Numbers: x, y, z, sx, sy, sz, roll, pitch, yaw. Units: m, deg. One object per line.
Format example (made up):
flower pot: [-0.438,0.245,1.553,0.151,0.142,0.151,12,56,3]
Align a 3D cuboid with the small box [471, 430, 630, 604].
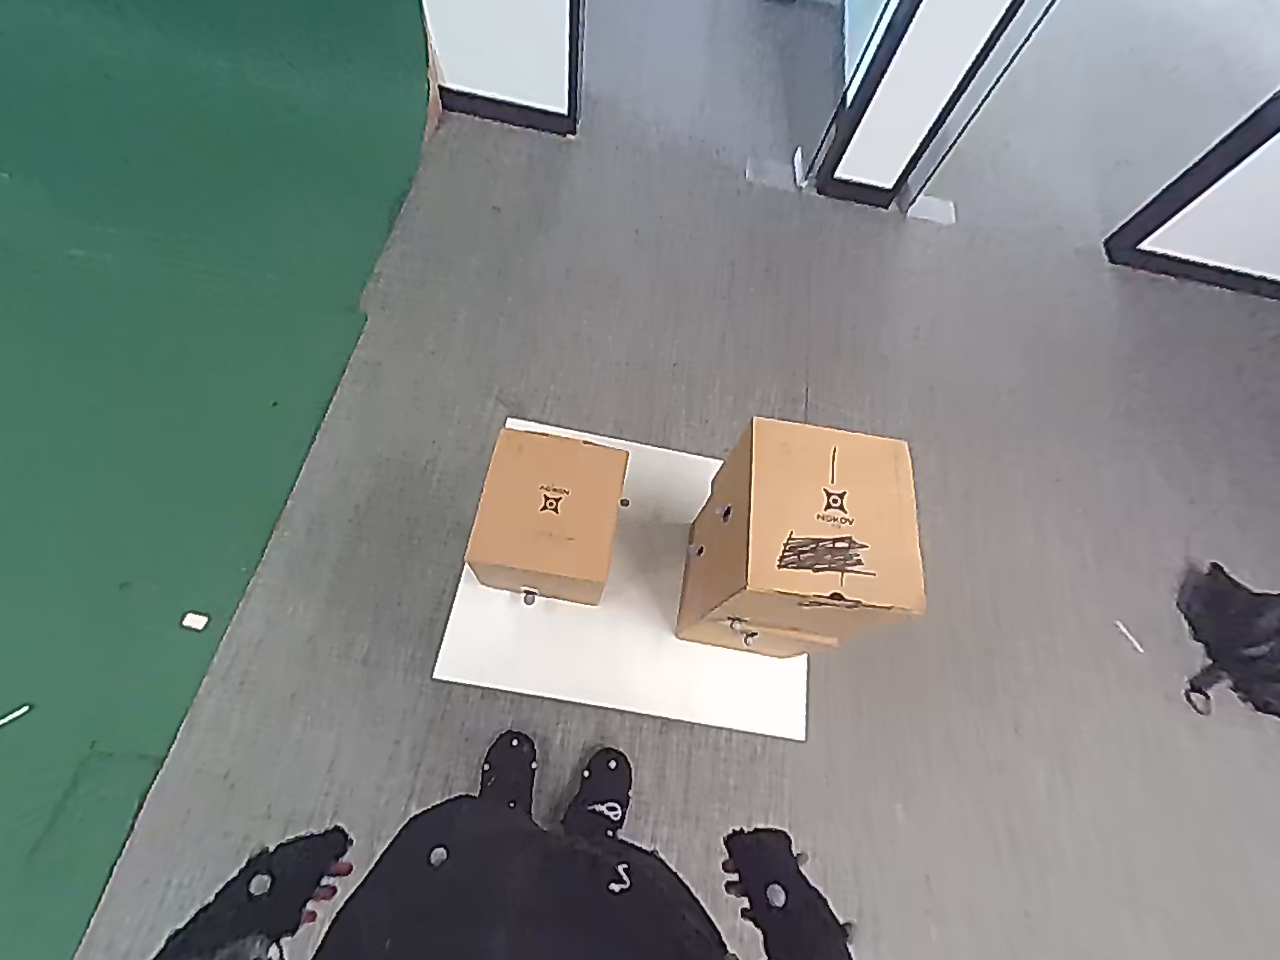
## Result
small box: [-0.113,0.058,0.725,0.168,0.176,0.179,9,68,-3]

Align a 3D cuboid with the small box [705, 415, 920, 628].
small box: [0.169,0.055,0.581,0.168,0.176,0.179,8,66,-4]

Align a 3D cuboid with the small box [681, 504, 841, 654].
small box: [0.156,0.125,0.729,0.168,0.176,0.179,10,66,-2]
